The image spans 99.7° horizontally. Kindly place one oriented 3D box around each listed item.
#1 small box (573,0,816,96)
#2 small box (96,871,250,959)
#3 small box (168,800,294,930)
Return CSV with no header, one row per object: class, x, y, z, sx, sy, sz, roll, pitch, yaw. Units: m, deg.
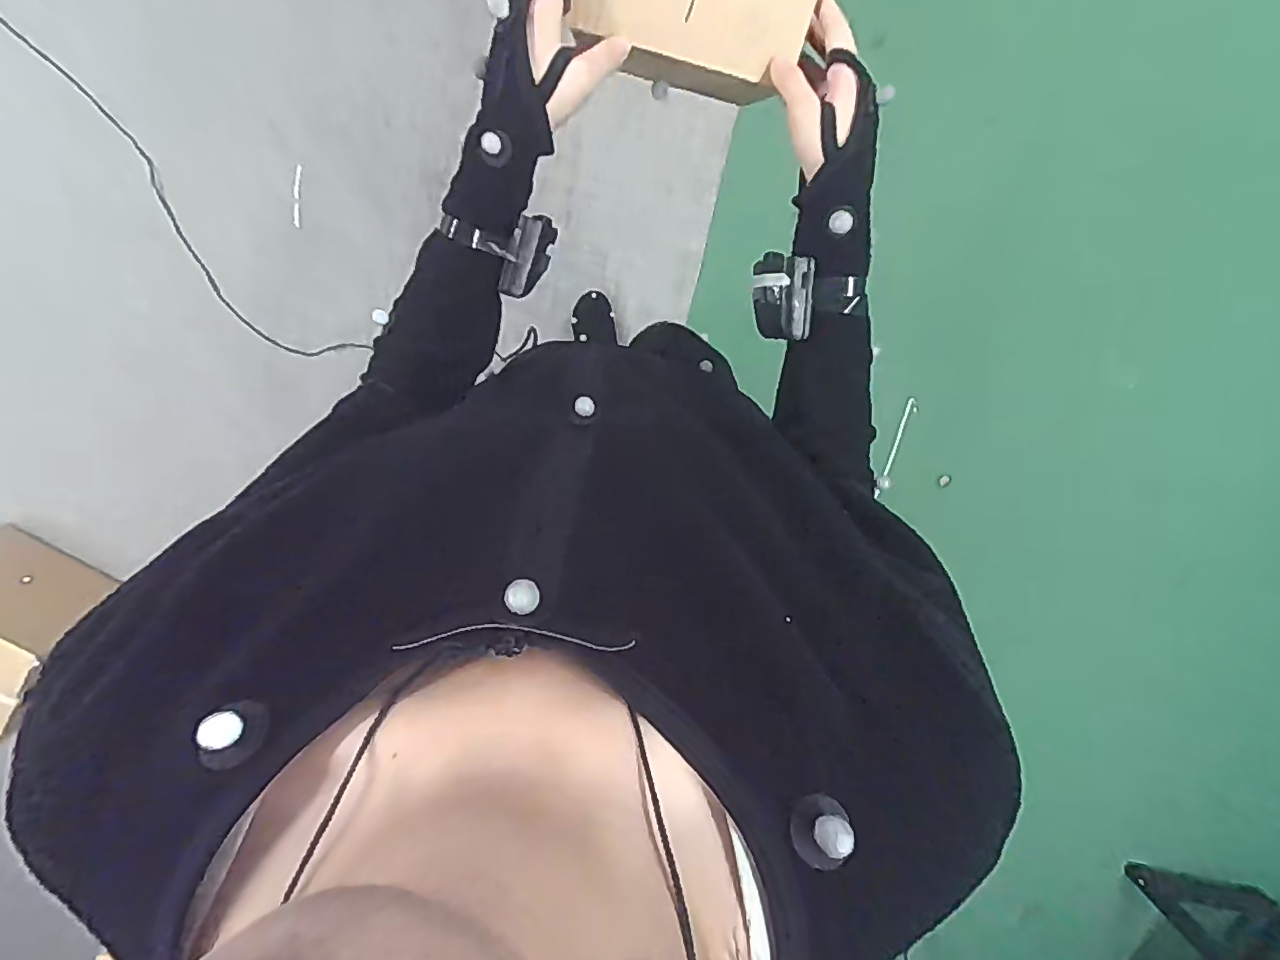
small box,0.048,-0.418,0.408,0.168,0.176,0.179,10,121,-8
small box,-0.899,0.909,1.057,0.168,0.176,0.179,9,104,-4
small box,-0.910,0.867,1.215,0.168,0.176,0.179,11,104,-6
